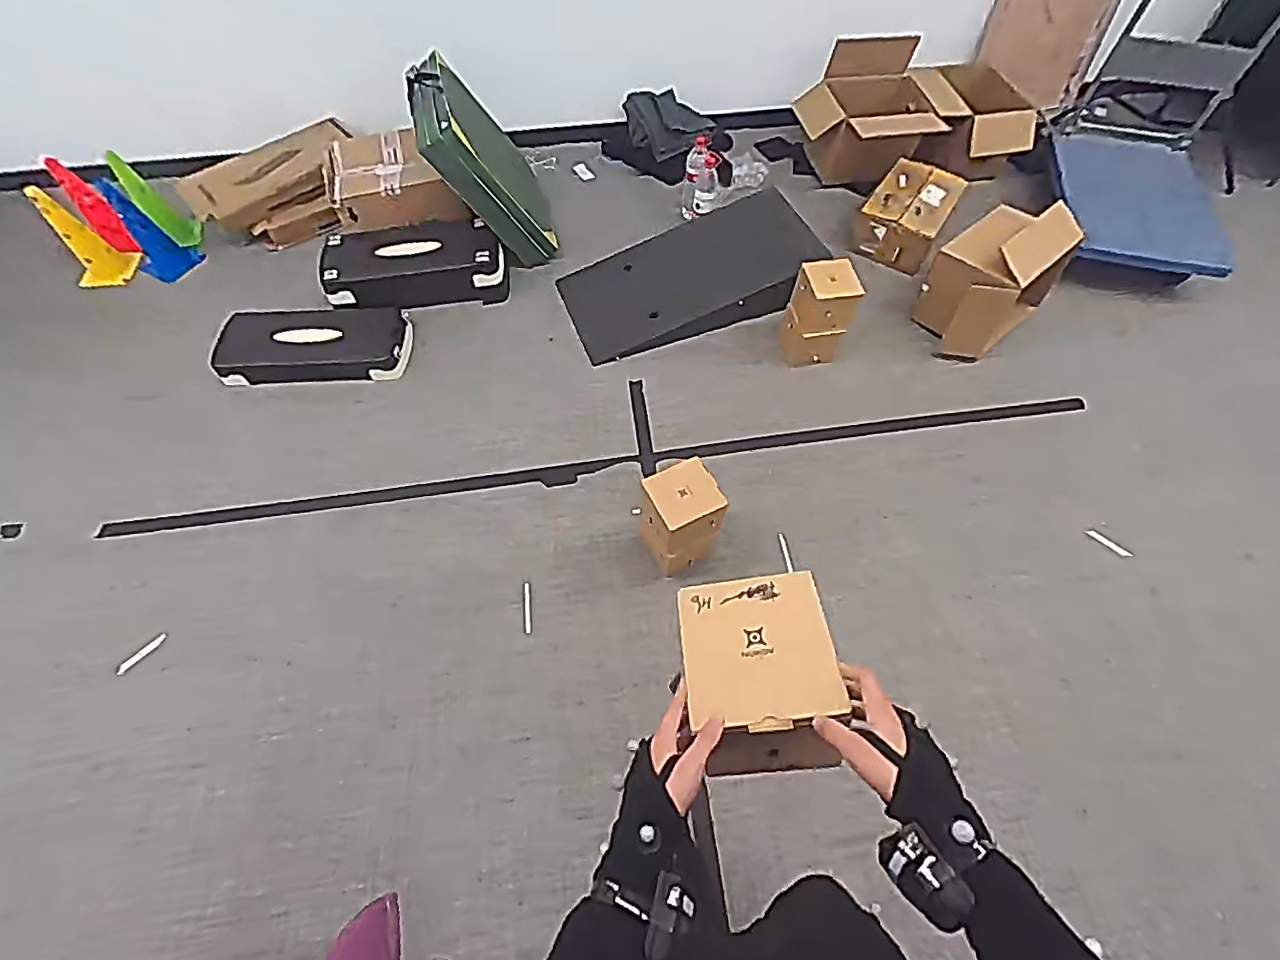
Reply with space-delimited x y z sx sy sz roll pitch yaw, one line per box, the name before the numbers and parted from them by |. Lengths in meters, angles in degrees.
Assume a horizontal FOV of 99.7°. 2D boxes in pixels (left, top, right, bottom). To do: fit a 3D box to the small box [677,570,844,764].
small box | 0.143 0.237 0.668 0.168 0.176 0.179 -9 47 7
